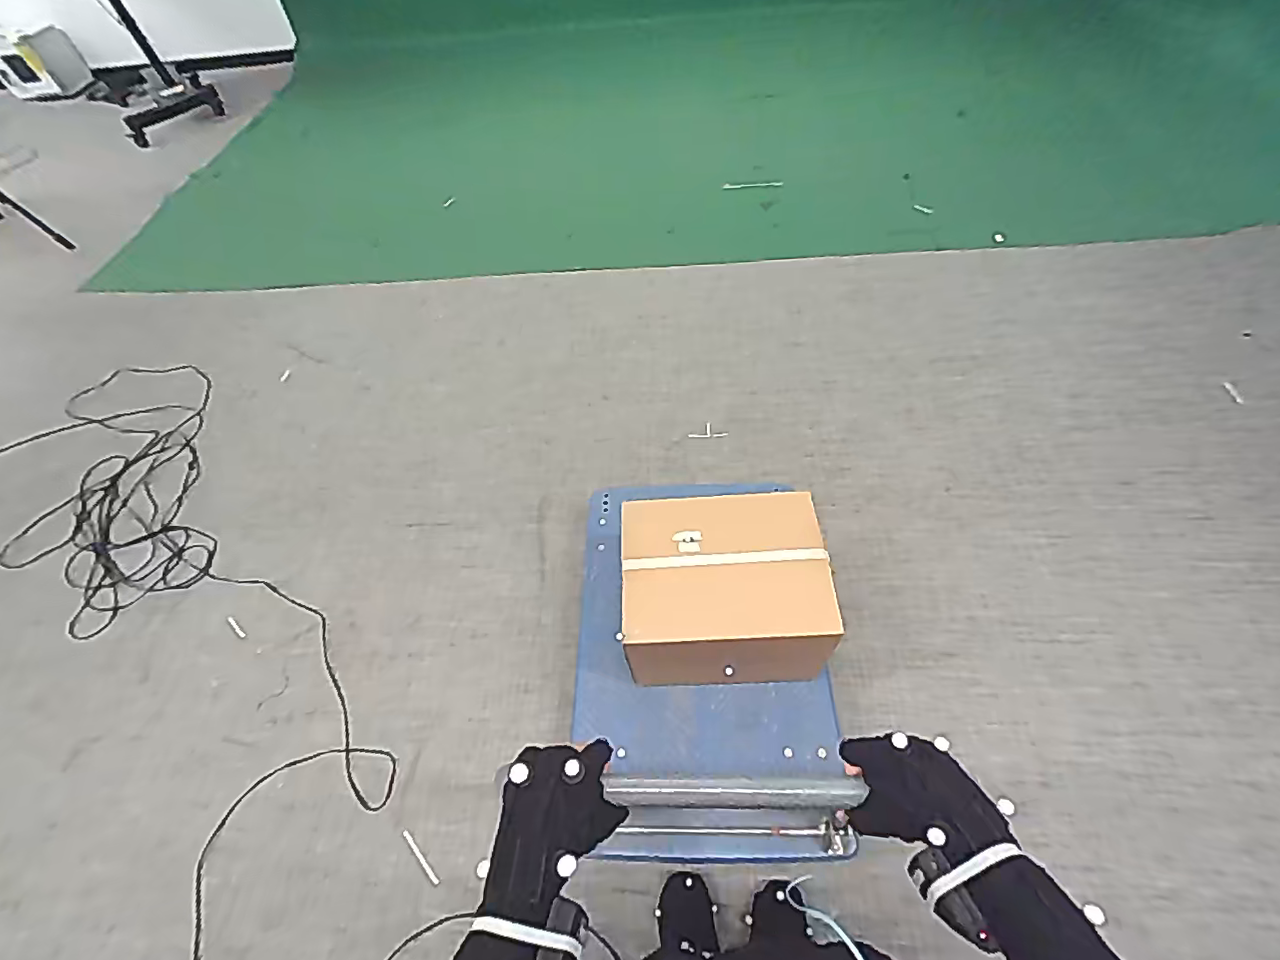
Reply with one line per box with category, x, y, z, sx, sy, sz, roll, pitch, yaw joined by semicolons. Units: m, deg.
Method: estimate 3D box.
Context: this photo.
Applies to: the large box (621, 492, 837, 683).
large box;0.176;0.250;1.204;0.408;0.320;0.320;-4;54;4
